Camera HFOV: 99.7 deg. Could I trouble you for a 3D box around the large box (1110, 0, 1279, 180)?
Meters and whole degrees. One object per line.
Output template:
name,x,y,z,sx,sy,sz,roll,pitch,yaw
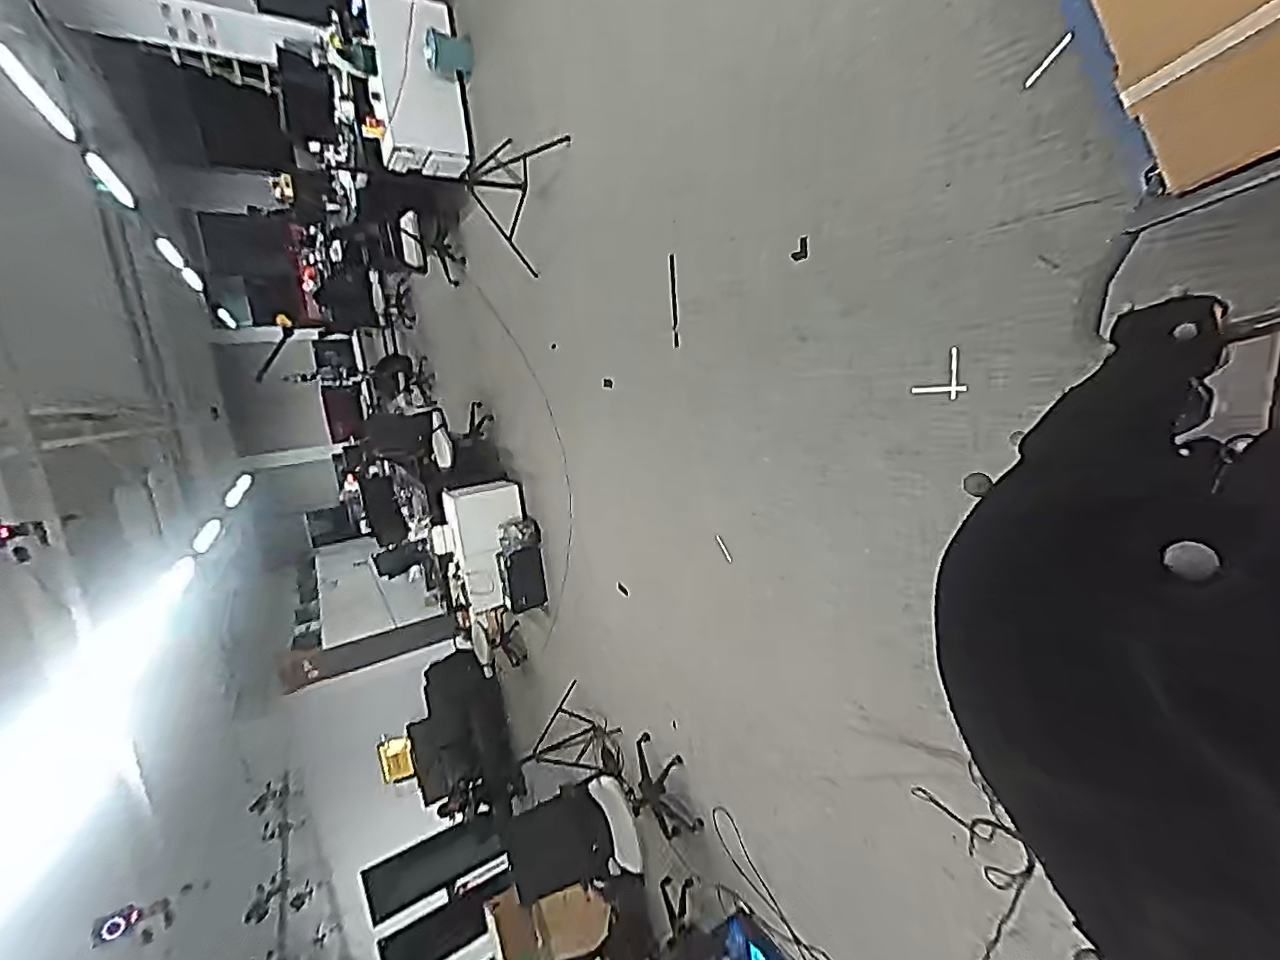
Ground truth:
large box,0.892,-0.654,0.644,0.320,0.320,0.408,57,150,-8
